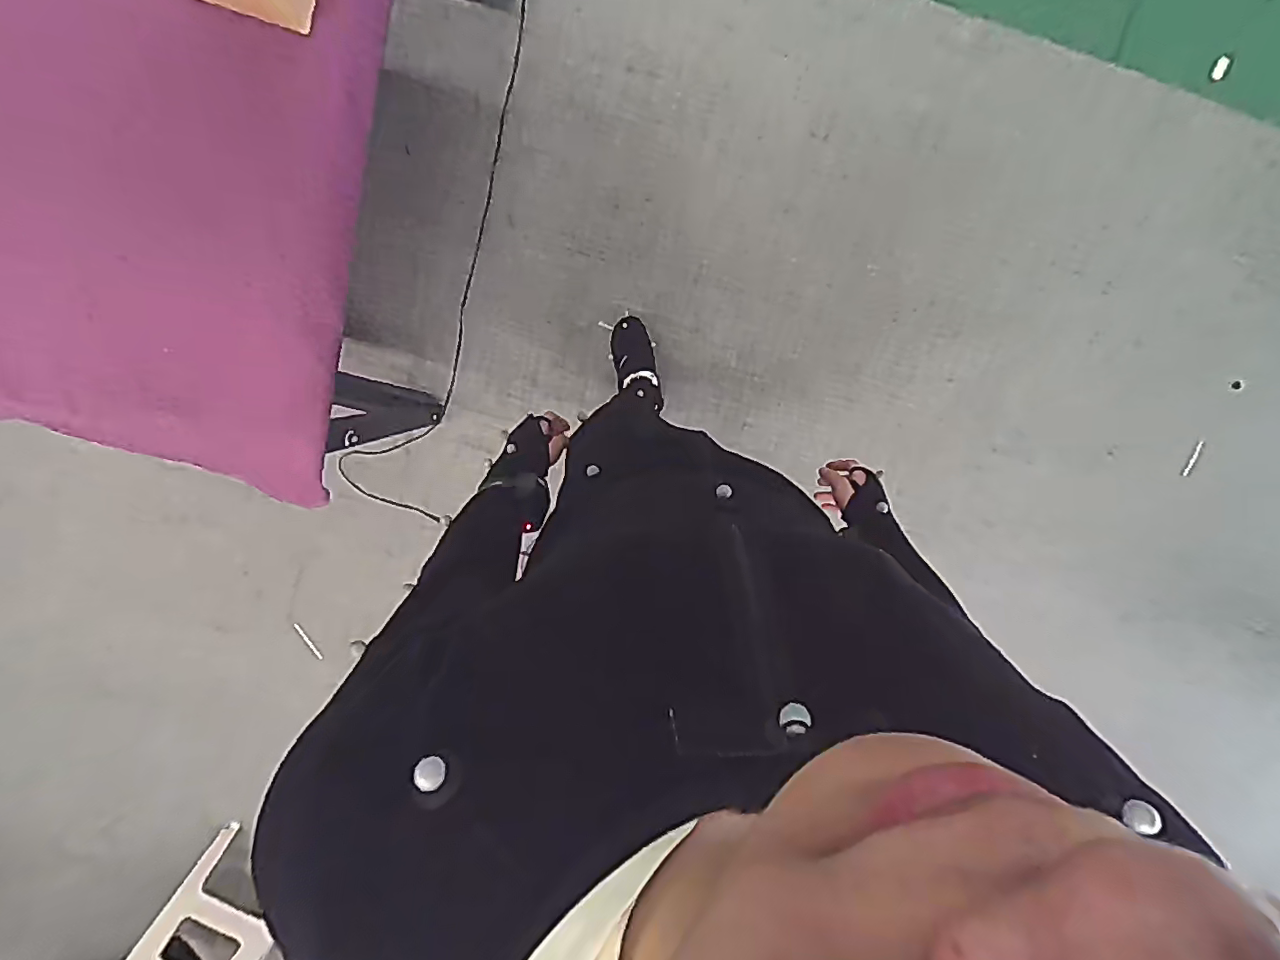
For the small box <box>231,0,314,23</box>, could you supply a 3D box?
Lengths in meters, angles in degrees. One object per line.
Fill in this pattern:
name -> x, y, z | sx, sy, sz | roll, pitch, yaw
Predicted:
small box -> -0.513, -0.715, 0.660 | 0.179, 0.176, 0.168 | 18, 101, -2
